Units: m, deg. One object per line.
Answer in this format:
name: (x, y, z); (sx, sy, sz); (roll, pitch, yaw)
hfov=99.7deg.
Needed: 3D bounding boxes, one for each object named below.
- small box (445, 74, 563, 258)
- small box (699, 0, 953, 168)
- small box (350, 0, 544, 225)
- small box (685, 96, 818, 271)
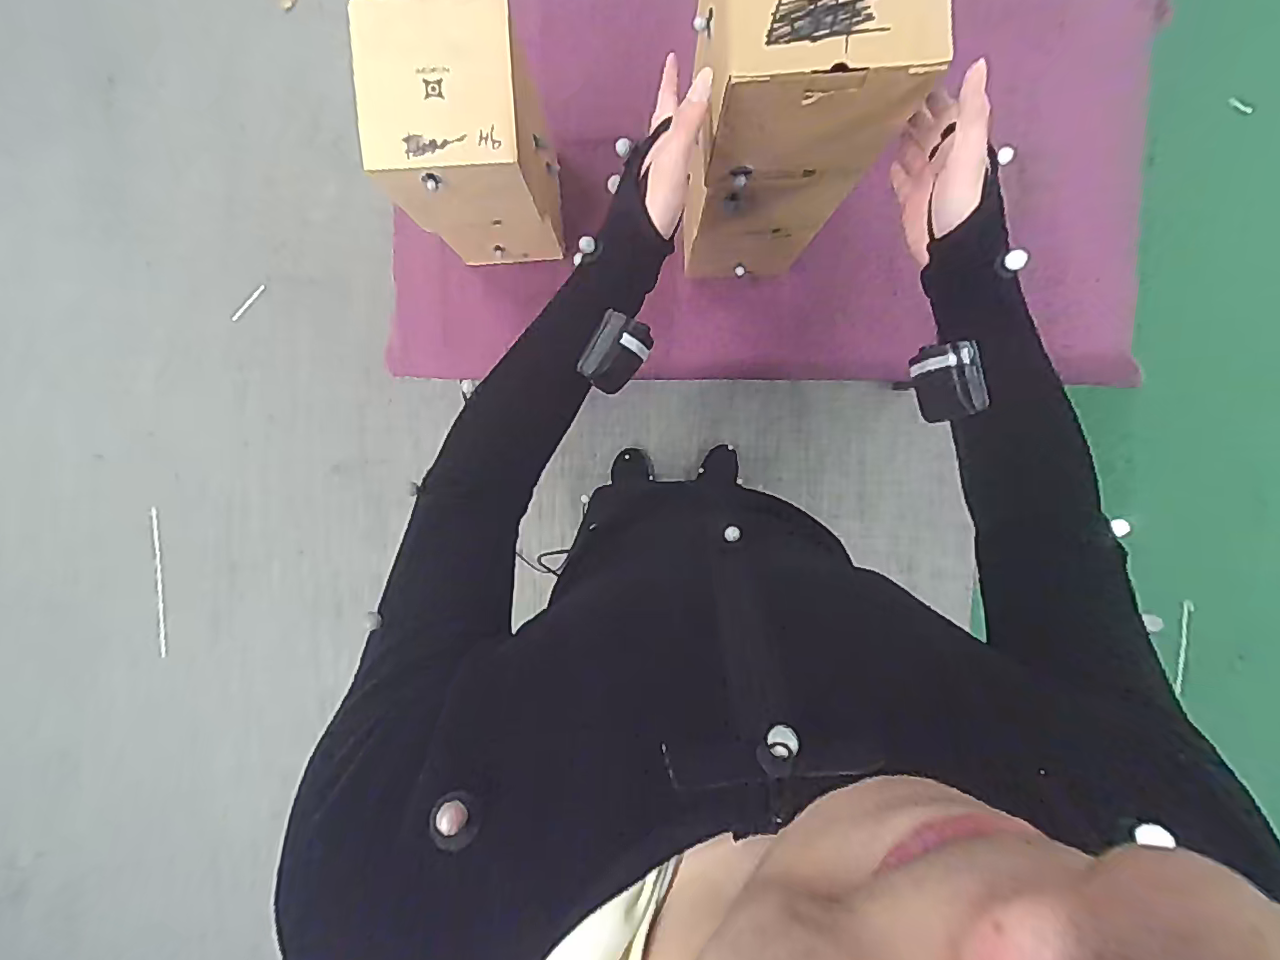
small box: (-0.210, -0.449, 0.796); (0.168, 0.176, 0.179); (-4, 94, 1)
small box: (0.141, -0.393, 0.464); (0.168, 0.176, 0.179); (-2, 92, 1)
small box: (-0.212, -0.425, 0.634); (0.168, 0.176, 0.179); (-3, 94, 1)
small box: (0.153, -0.423, 0.792); (0.168, 0.176, 0.179); (-1, 94, 1)
